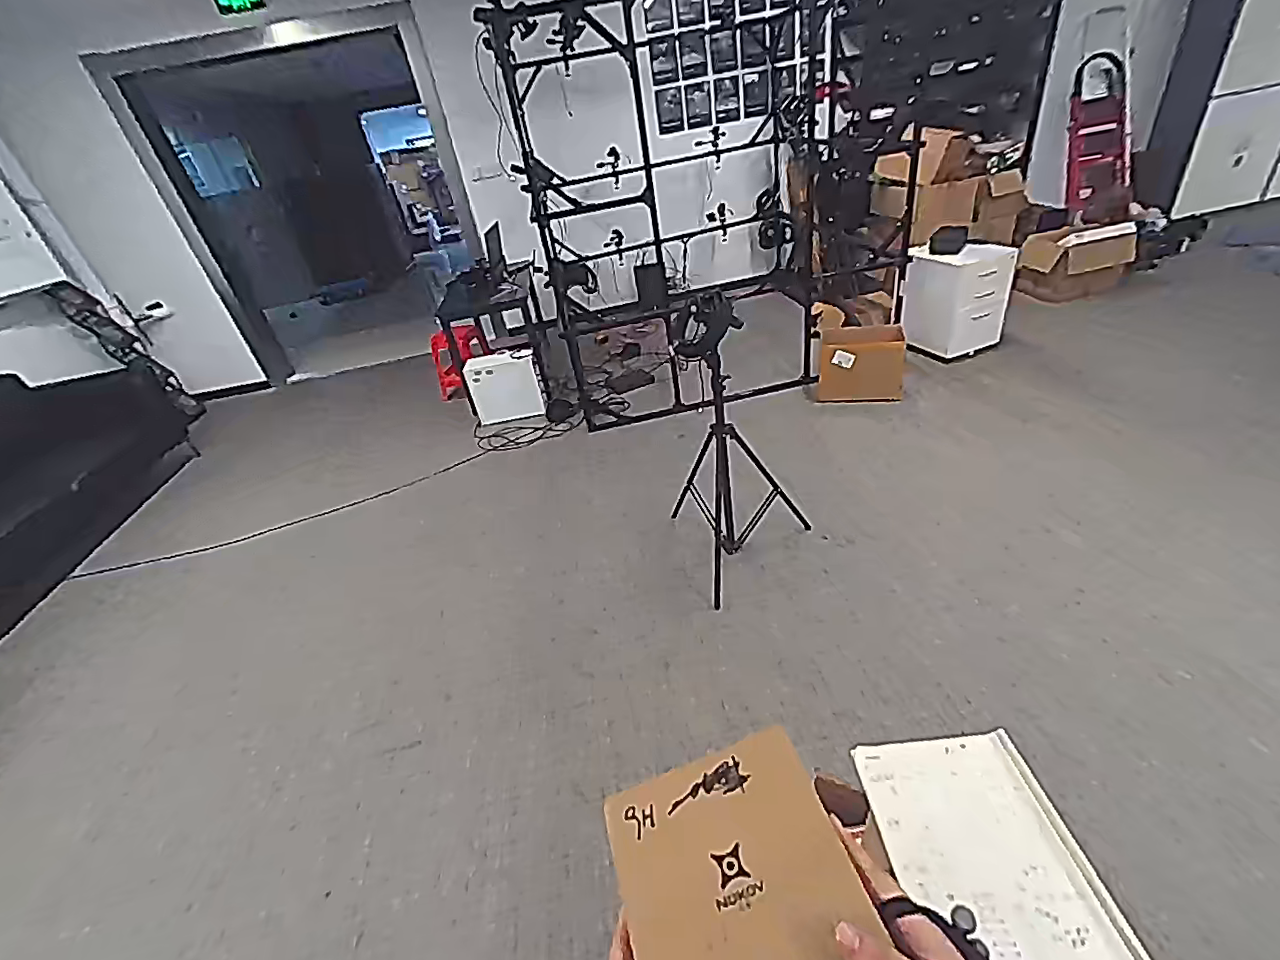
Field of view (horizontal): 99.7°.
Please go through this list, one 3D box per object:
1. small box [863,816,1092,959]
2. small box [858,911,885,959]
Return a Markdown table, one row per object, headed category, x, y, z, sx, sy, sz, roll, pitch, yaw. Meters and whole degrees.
| category | x | y | z | sx | sy | sz | roll | pitch | yaw |
| --- | --- | --- | --- | --- | --- | --- | --- | --- | --- |
| small box | 0.376 | 0.526 | 0.628 | 0.168 | 0.176 | 0.179 | -6 | 35 | 2 |
| small box | 0.415 | 0.657 | 0.722 | 0.179 | 0.176 | 0.168 | -9 | 34 | -1 |
